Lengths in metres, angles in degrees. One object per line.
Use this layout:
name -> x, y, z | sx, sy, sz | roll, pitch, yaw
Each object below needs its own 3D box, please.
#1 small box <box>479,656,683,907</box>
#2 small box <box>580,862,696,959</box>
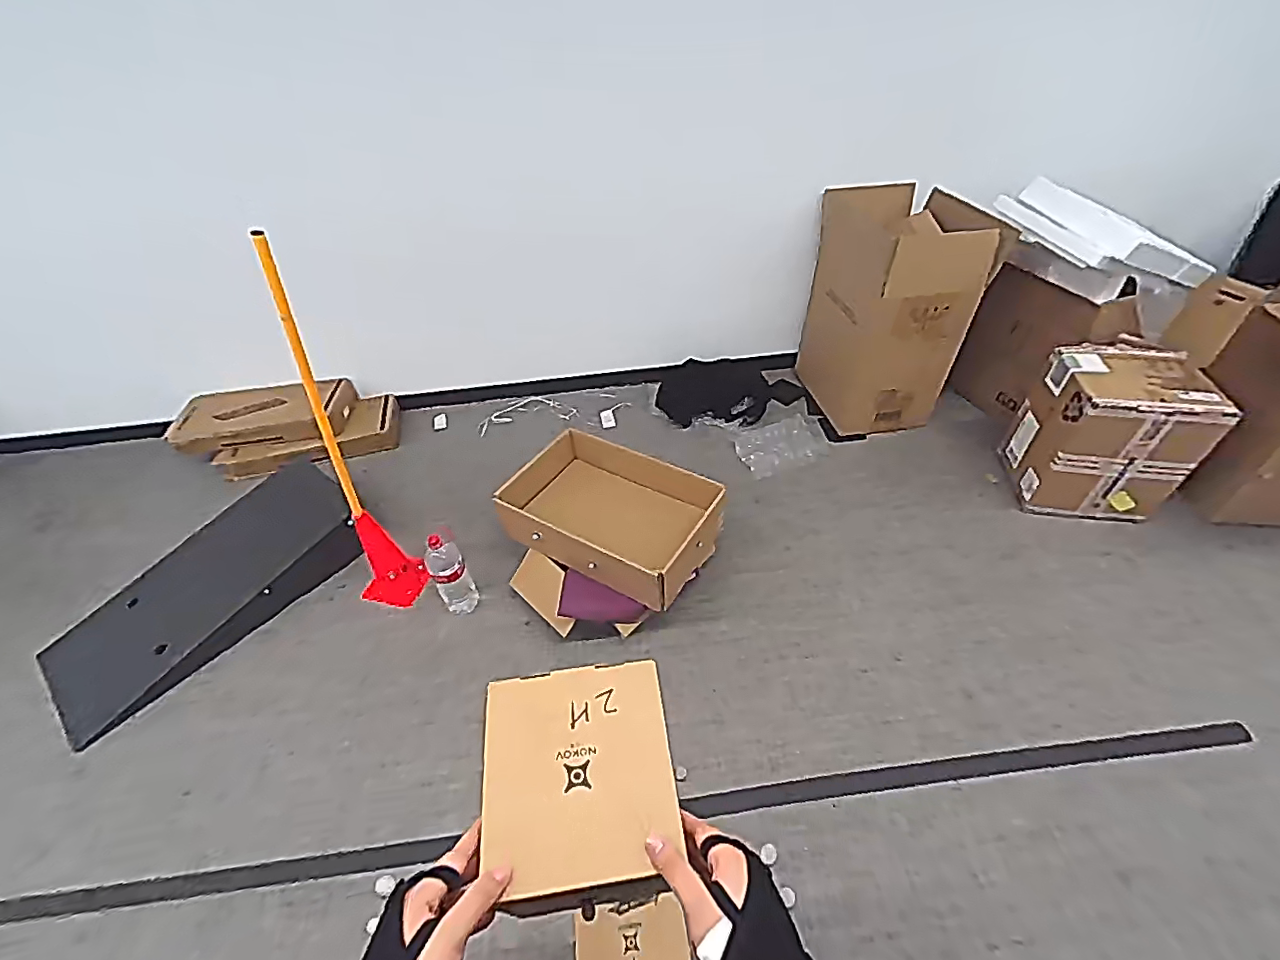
small box -> -0.053, 0.301, 0.535 | 0.168, 0.176, 0.179 | -7, 48, -5
small box -> -0.002, 0.723, 0.846 | 0.168, 0.176, 0.179 | -8, 43, -3
